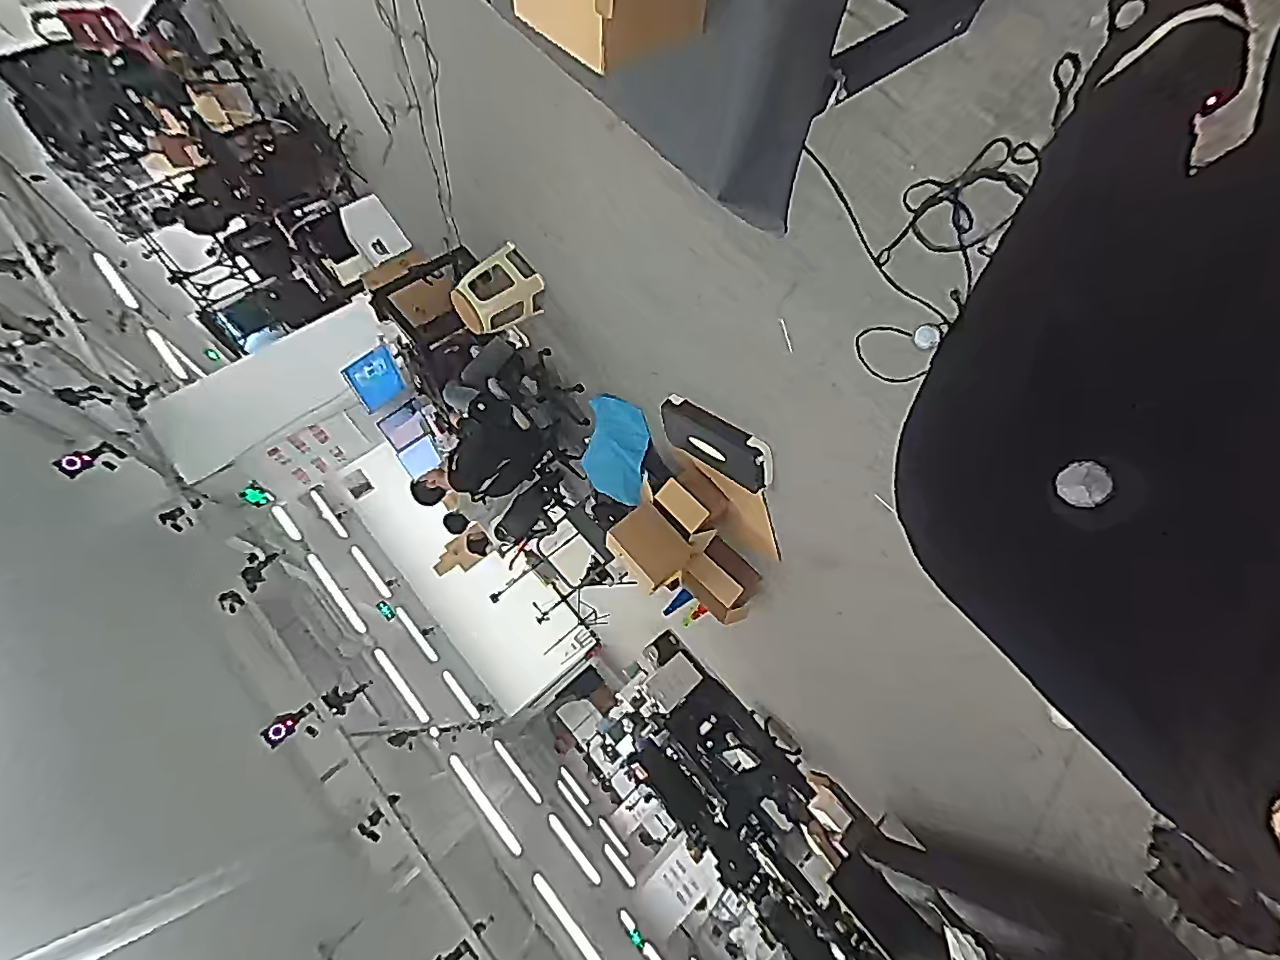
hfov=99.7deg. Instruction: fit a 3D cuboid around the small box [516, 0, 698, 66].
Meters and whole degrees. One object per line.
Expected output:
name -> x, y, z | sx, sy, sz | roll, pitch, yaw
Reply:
small box -> -0.033, -0.622, 0.611 | 0.179, 0.176, 0.168 | 47, 159, 18
